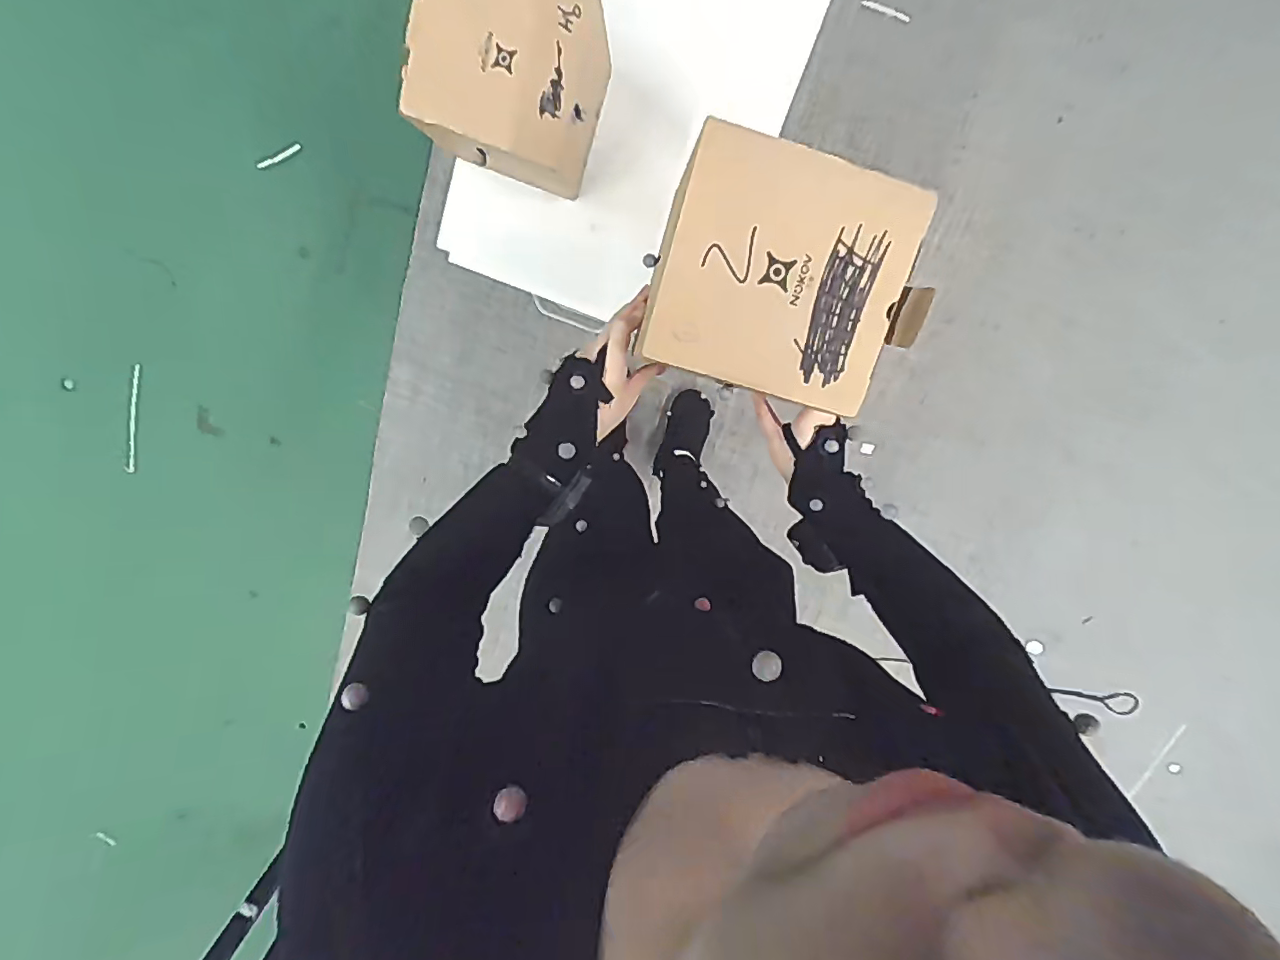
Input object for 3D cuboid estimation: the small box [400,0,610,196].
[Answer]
[{"bbox_3d":[-0.144,-0.458,0.631,0.179,0.176,0.168,19,106,-4],"label":"small box"}]
